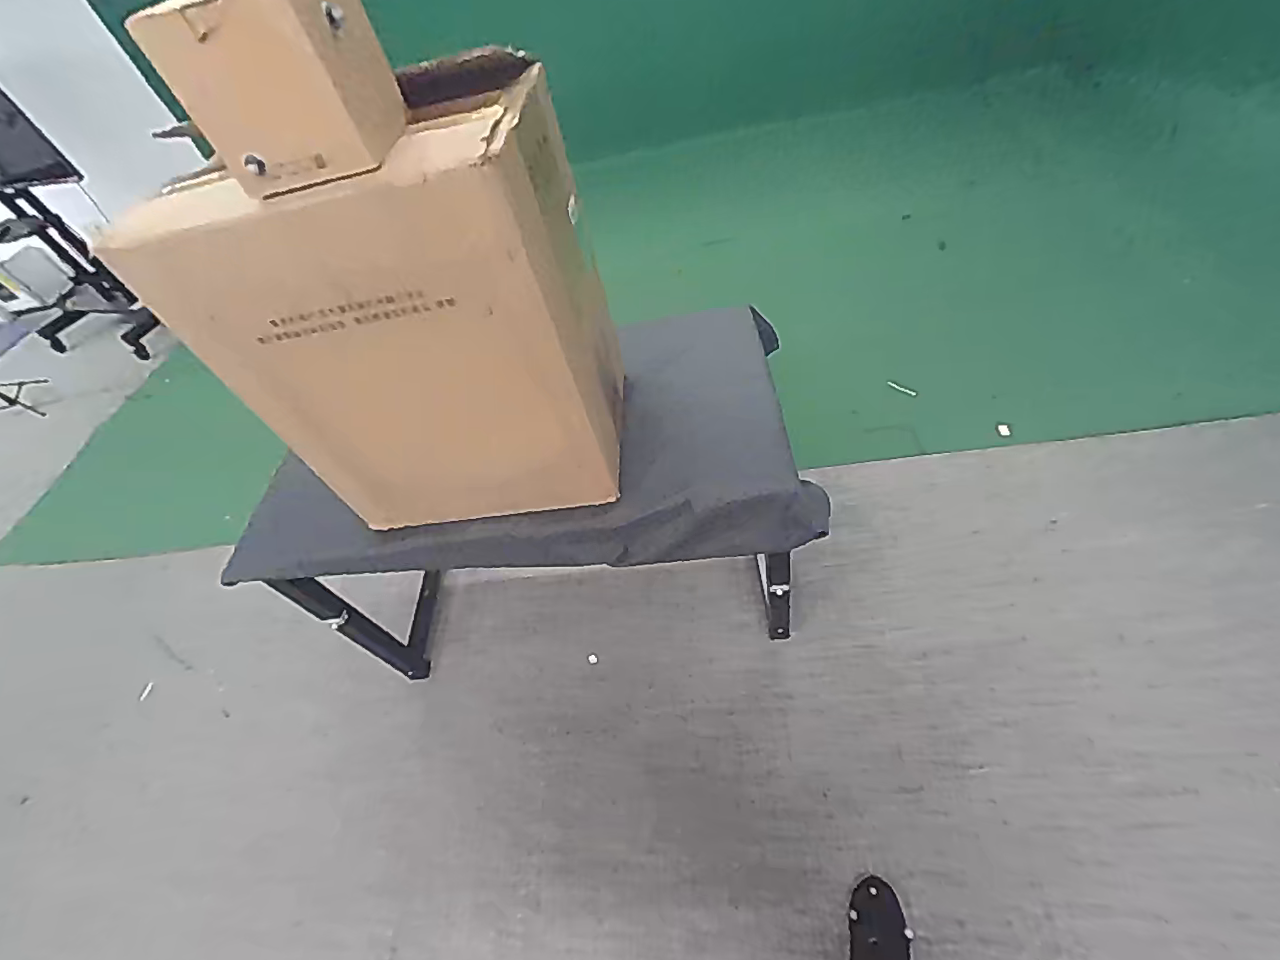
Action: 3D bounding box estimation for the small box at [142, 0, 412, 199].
[{"bbox_3d":[-0.393,-0.449,0.628,0.168,0.176,0.179,-9,49,8],"label":"small box"}]
